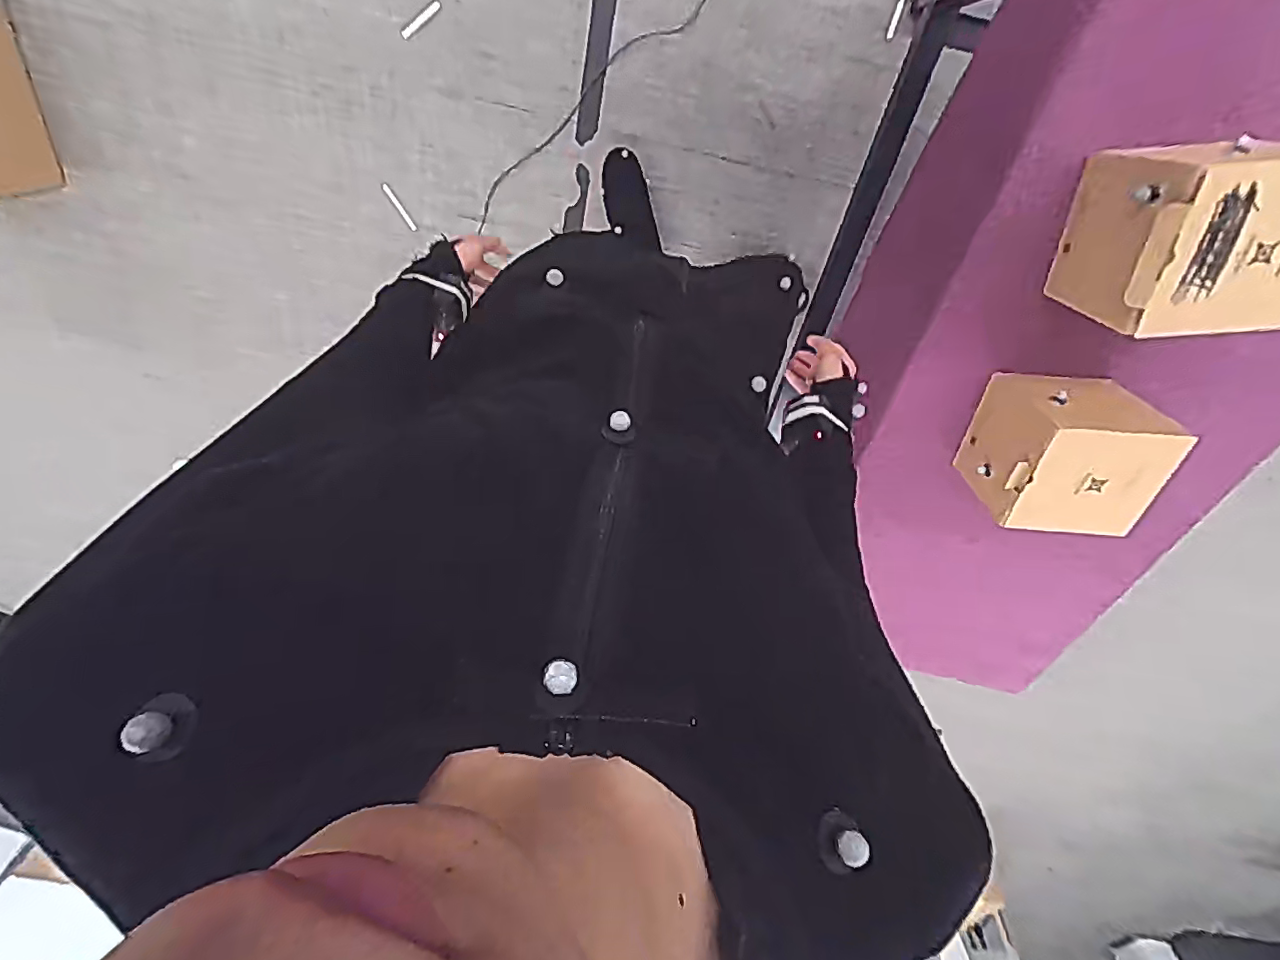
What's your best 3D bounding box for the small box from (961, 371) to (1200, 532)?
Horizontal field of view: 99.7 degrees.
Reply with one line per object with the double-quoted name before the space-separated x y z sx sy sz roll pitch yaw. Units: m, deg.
"small box" 0.603 -0.046 0.776 0.179 0.176 0.168 4 126 1
